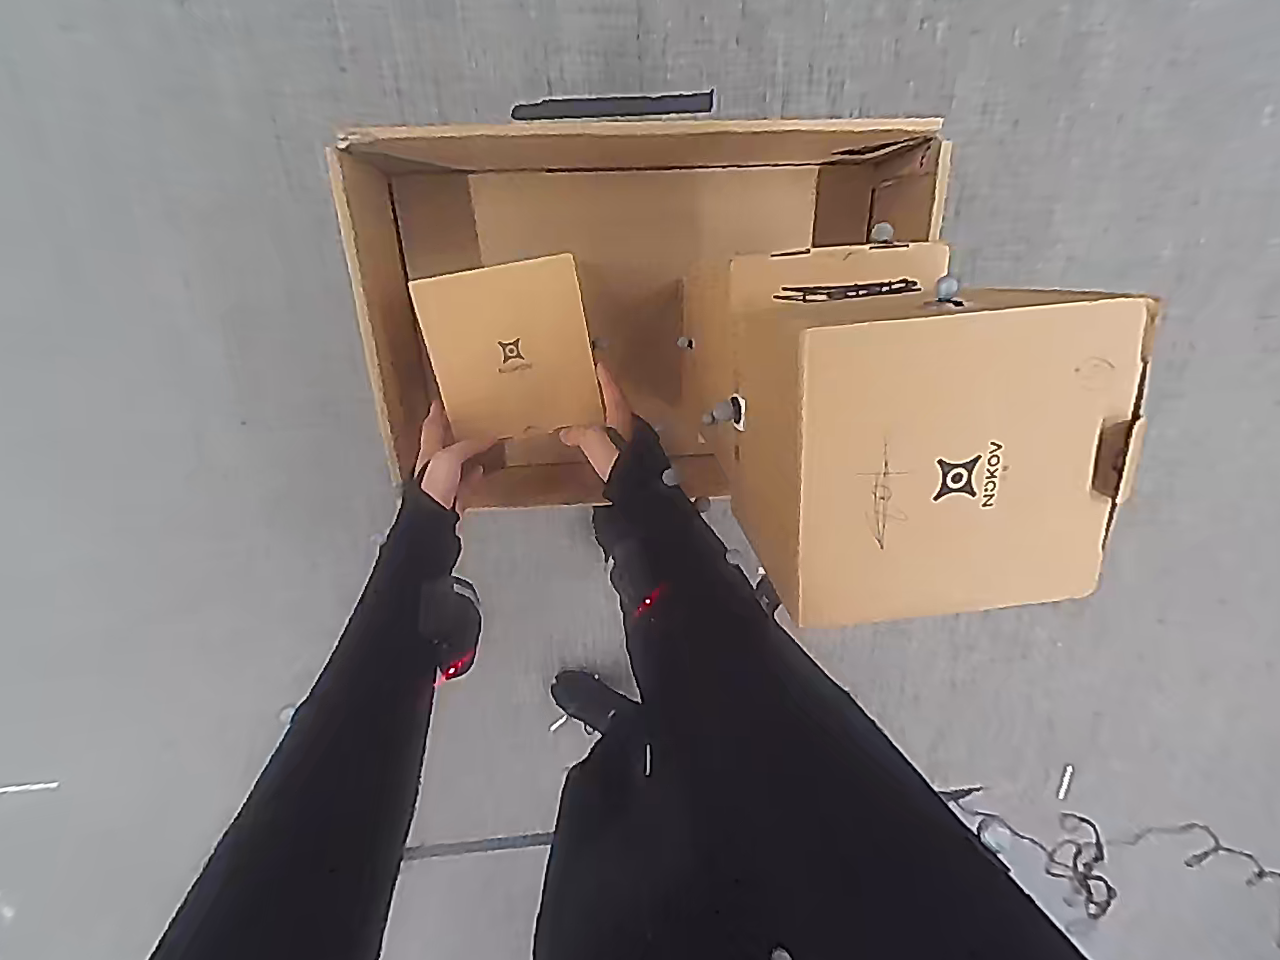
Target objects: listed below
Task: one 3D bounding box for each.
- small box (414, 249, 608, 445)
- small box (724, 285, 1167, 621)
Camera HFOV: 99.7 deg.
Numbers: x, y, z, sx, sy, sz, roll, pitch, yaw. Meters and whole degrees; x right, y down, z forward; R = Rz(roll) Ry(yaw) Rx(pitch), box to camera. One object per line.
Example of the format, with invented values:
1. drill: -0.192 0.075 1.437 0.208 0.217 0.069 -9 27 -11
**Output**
1. small box: -0.135 -0.158 0.631 0.168 0.176 0.179 -11 111 -1
2. small box: 0.161 -0.034 0.350 0.179 0.176 0.168 -6 110 -3
